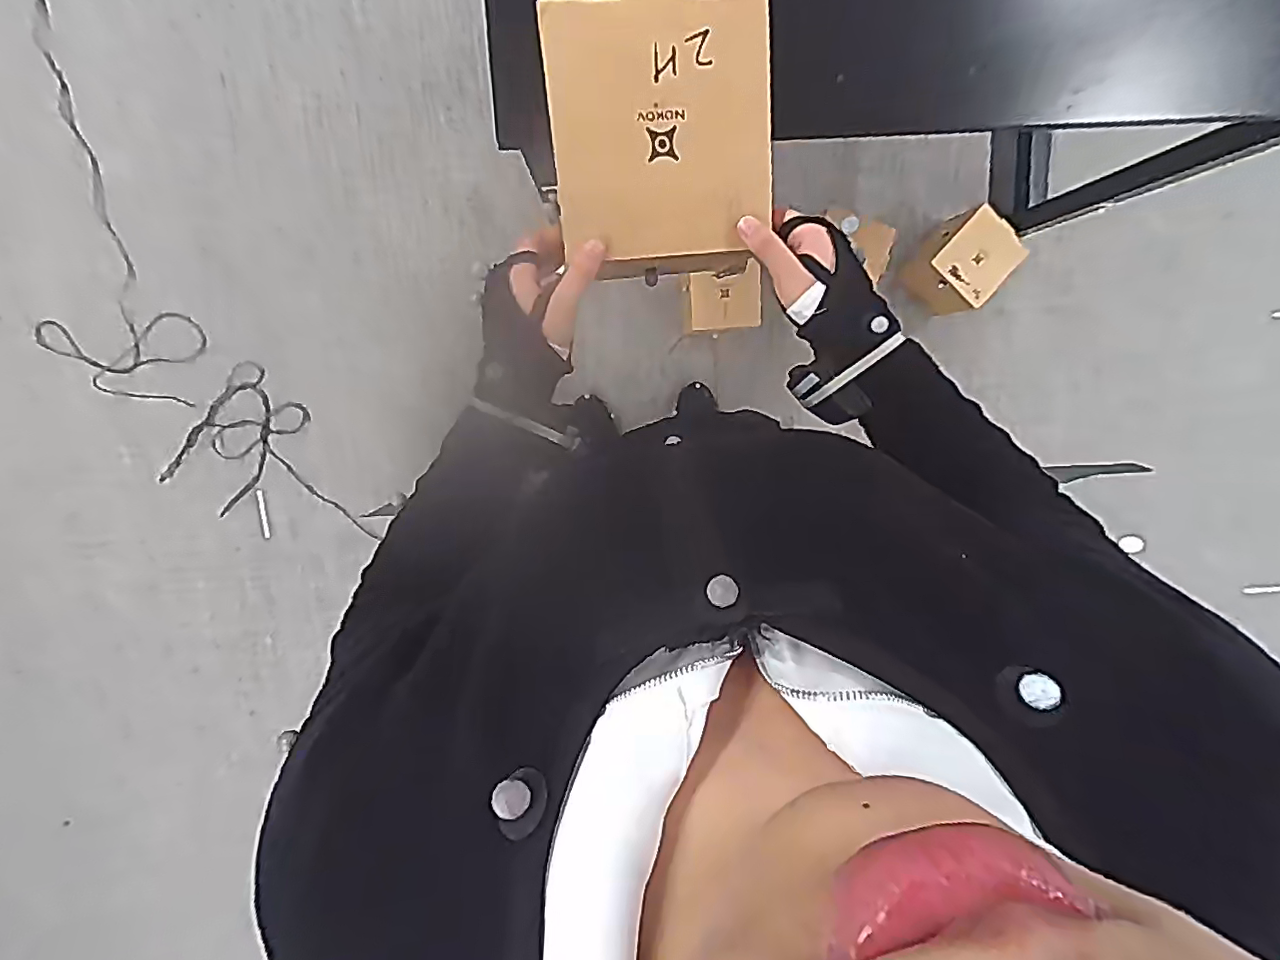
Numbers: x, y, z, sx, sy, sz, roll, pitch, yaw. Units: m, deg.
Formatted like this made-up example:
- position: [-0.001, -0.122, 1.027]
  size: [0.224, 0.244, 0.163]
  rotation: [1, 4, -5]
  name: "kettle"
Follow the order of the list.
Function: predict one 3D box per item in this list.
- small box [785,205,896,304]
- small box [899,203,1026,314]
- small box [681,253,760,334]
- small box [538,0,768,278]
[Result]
- position: [0.484, -0.544, 1.333]
  size: [0.179, 0.176, 0.168]
  rotation: [17, 99, -4]
  name: "small box"
- position: [0.787, -0.539, 1.341]
  size: [0.168, 0.176, 0.179]
  rotation: [40, 97, -8]
  name: "small box"
- position: [0.195, -0.461, 1.338]
  size: [0.168, 0.176, 0.179]
  rotation: [-4, 102, -1]
  name: "small box"
- position: [0.009, -0.279, 0.480]
  size: [0.168, 0.176, 0.179]
  rotation: [-7, 105, -4]
  name: "small box"
